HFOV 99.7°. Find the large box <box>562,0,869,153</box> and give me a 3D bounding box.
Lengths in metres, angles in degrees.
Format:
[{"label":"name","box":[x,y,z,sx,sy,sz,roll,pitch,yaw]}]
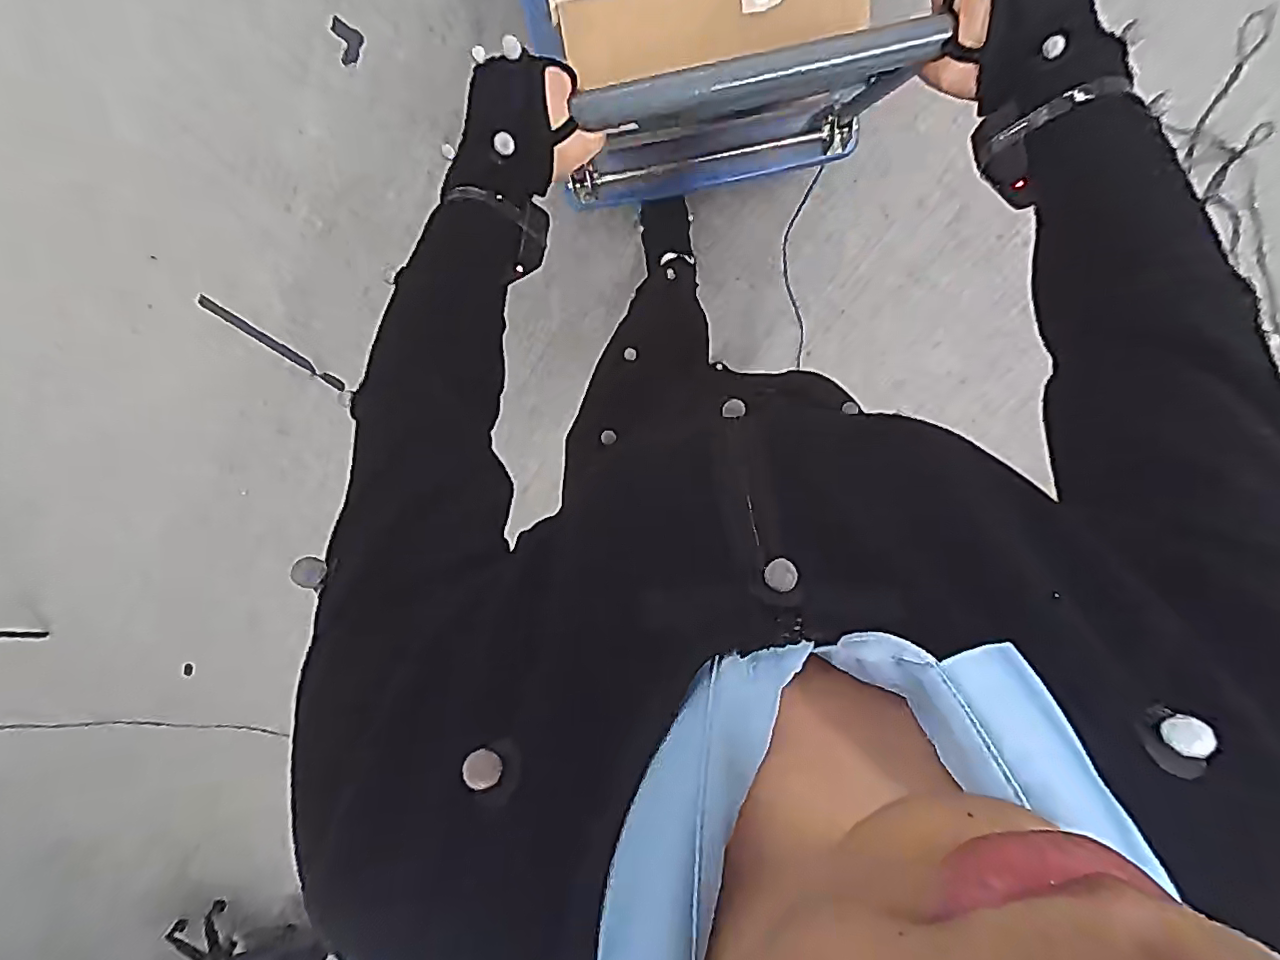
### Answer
[{"label":"large box","box":[0.091,-0.734,0.828,0.408,0.320,0.320,-9,116,5]}]
